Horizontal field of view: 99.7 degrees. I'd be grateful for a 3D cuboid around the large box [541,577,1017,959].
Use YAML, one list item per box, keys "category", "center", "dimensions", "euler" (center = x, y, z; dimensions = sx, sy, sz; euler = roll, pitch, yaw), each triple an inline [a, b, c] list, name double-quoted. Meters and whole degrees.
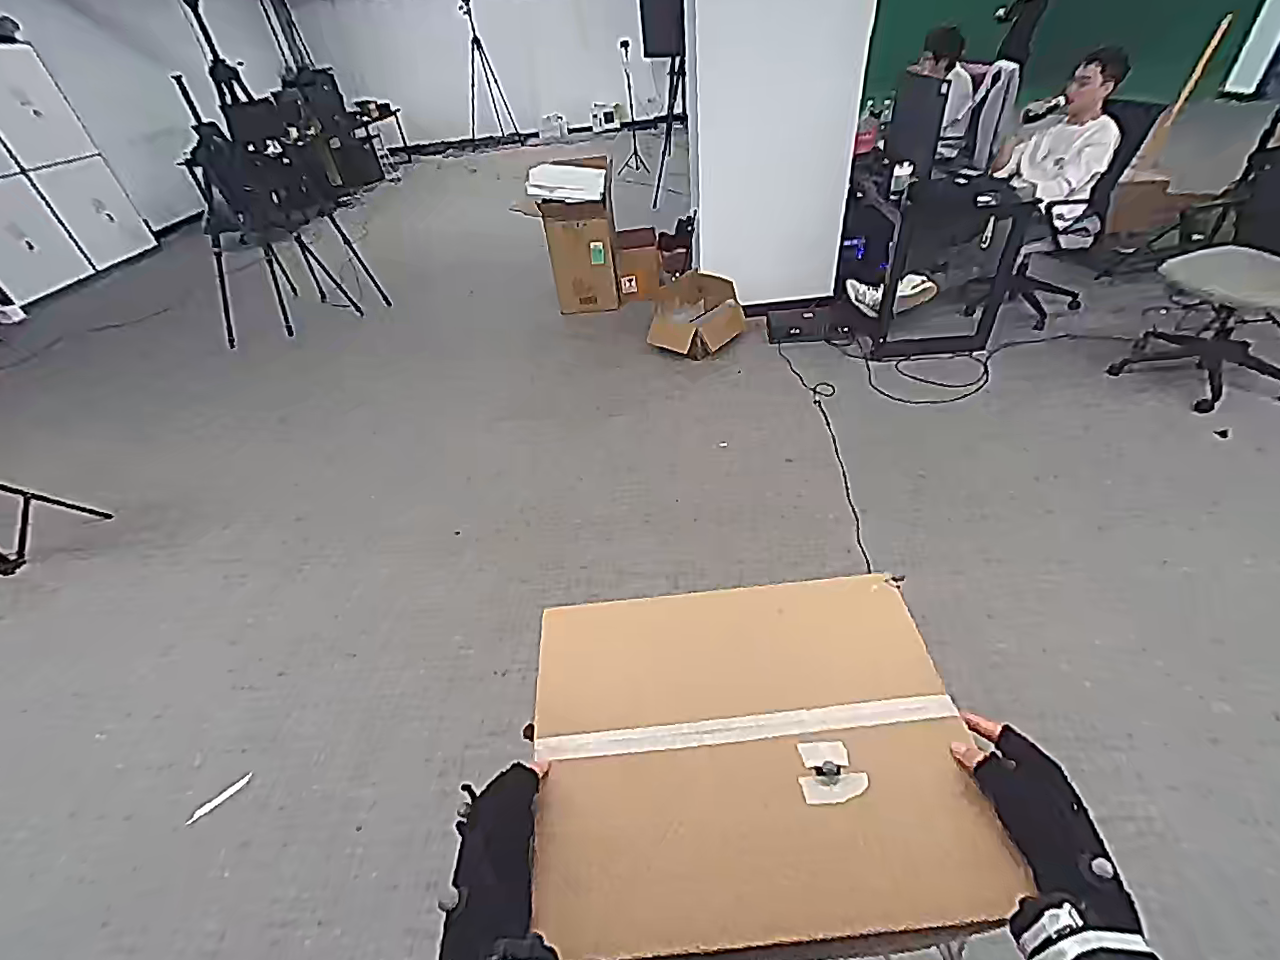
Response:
- category: "large box"
  center: [0.111, 0.351, 0.648]
  dimensions: [0.408, 0.320, 0.320]
  euler: [-6, 46, 0]
